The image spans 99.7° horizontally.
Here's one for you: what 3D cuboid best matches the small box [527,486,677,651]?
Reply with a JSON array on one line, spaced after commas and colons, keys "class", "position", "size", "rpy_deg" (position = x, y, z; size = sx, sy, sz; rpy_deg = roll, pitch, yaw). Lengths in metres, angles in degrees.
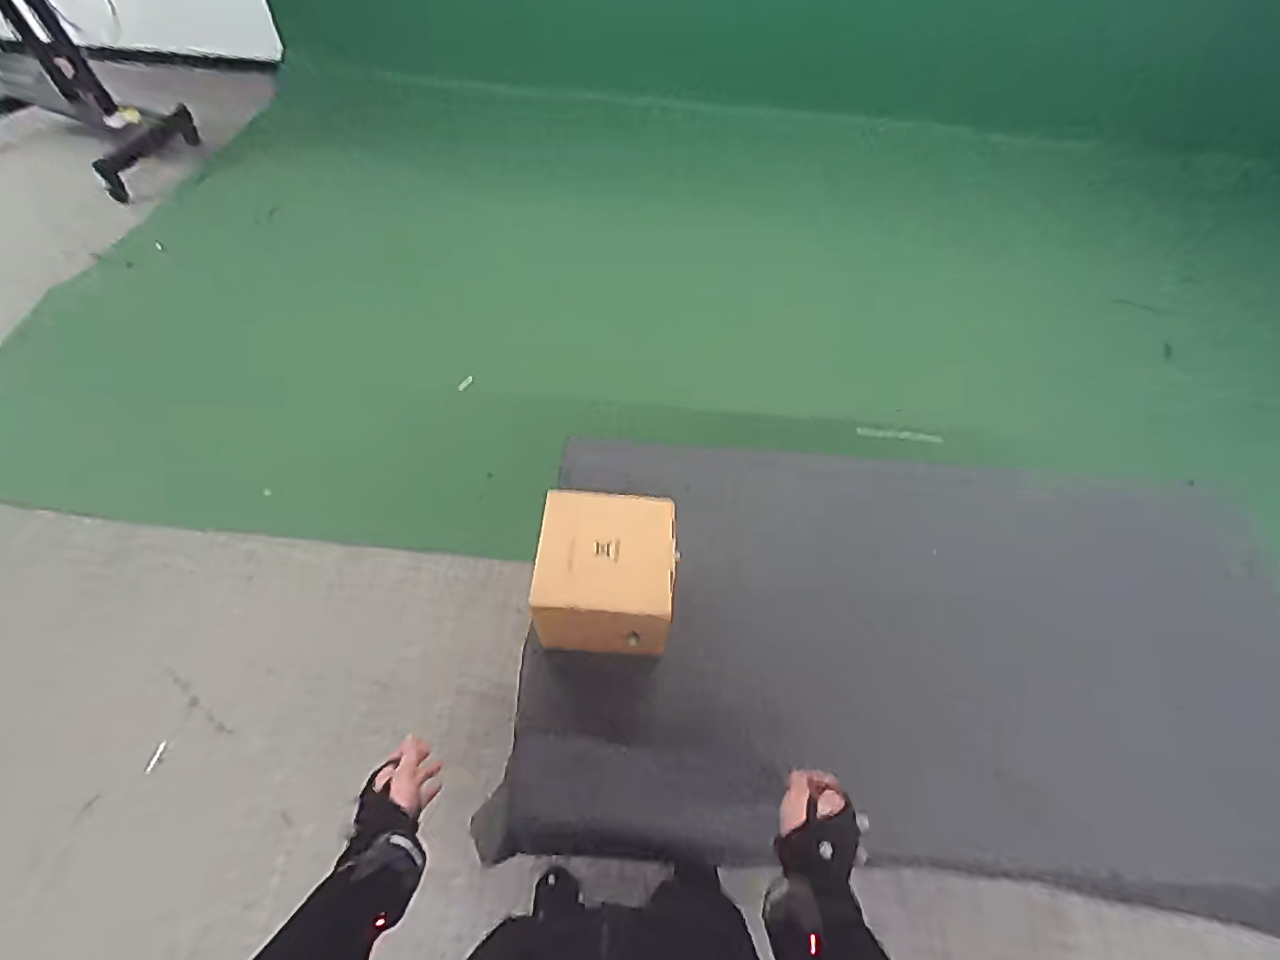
[{"class": "small box", "position": [-0.047, 0.128, 0.746], "size": [0.179, 0.176, 0.168], "rpy_deg": [4, 54, -1]}]
